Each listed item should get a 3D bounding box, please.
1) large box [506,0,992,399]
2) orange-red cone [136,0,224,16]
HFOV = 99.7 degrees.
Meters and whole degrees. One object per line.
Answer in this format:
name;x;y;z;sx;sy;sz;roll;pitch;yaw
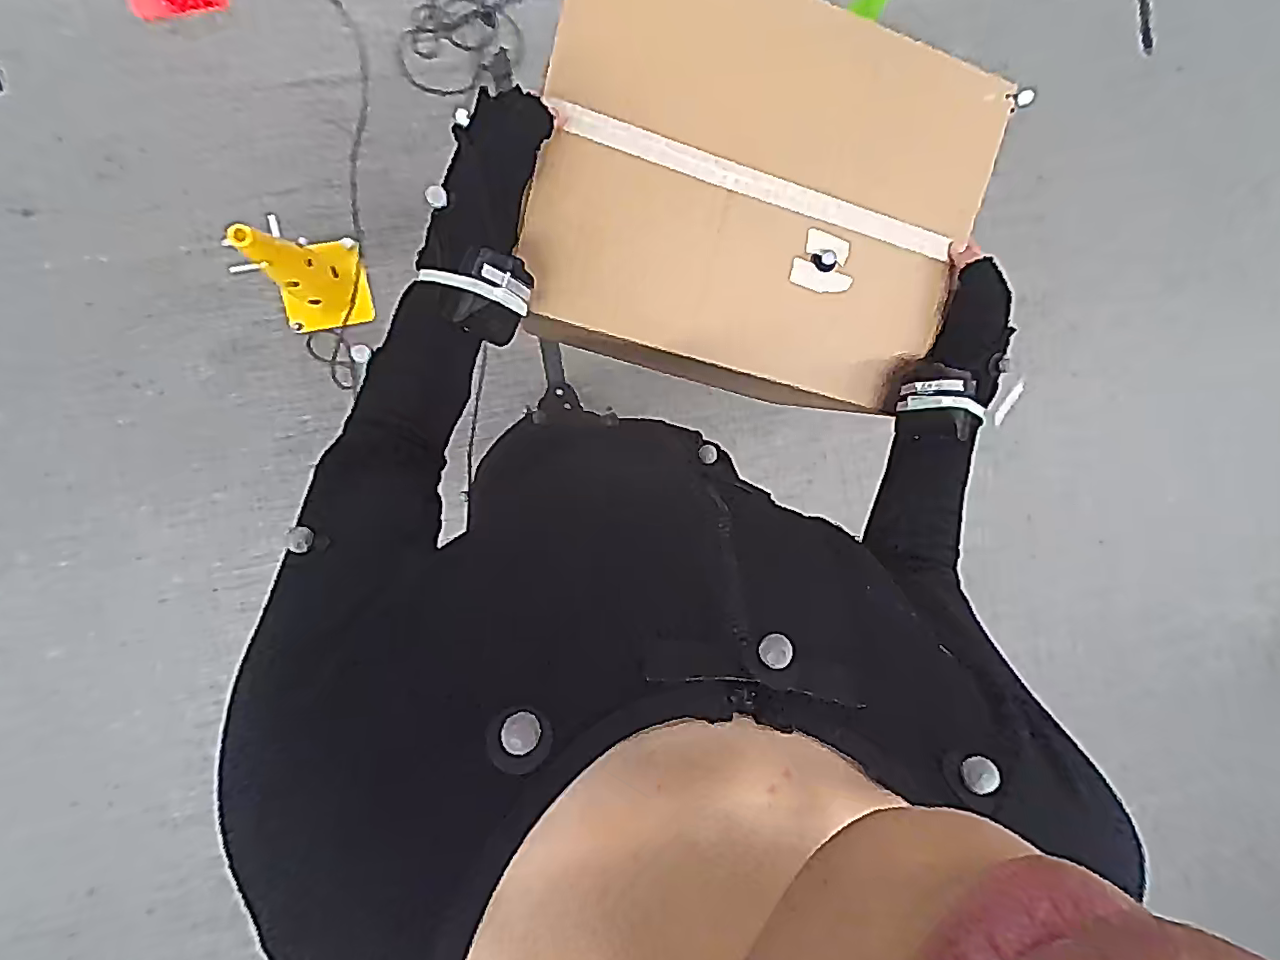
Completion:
large box;0.080;-0.288;0.626;0.408;0.320;0.320;12;98;-11
orange-red cone;-1.034;-1.143;1.052;0.198;0.360;0.199;-13;98;-5
